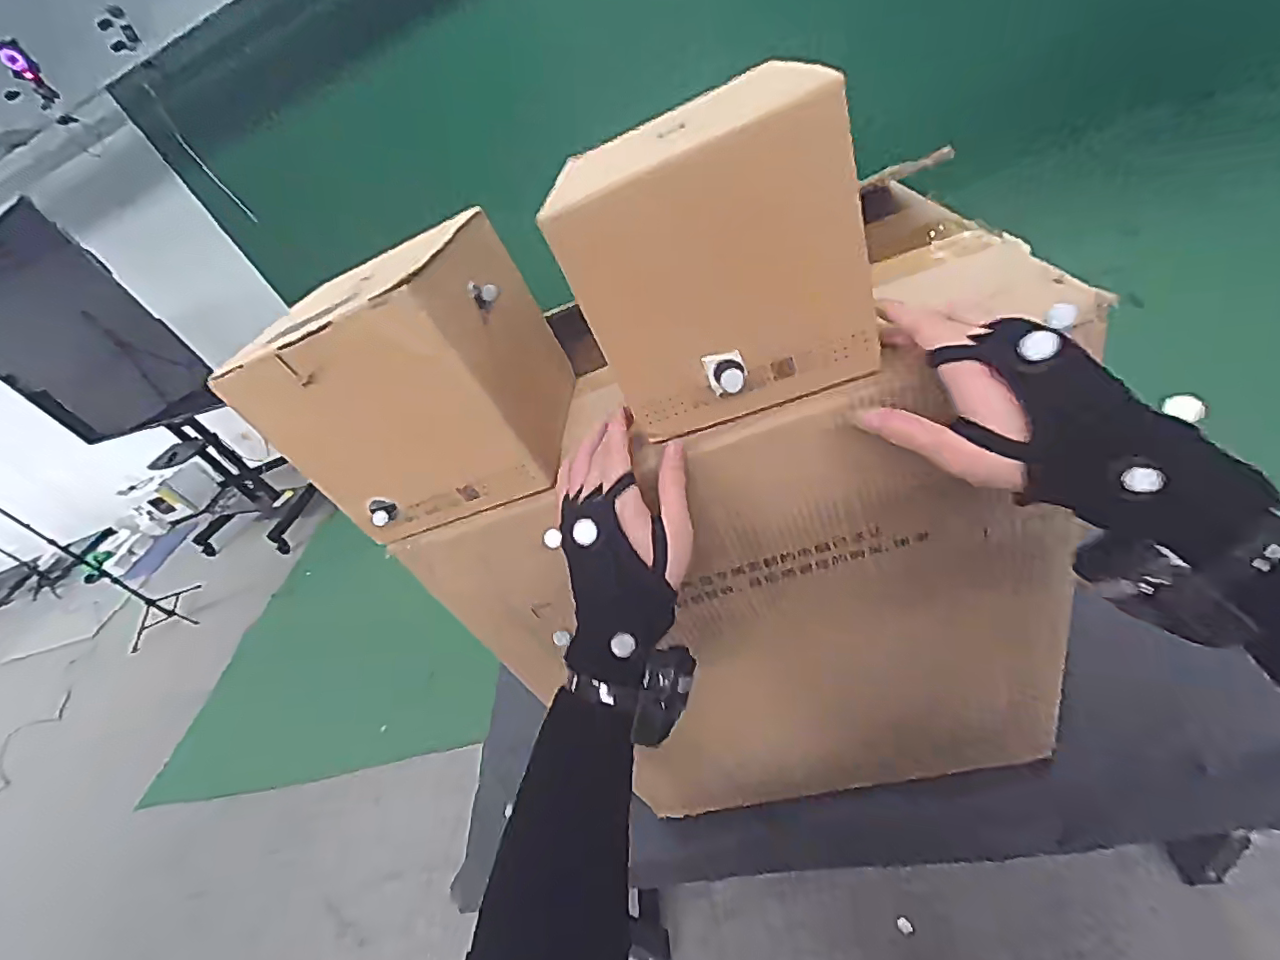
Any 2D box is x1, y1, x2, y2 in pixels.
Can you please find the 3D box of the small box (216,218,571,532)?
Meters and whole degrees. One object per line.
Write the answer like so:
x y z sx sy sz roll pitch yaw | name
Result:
-0.172 -0.077 0.443 0.168 0.176 0.179 -18 36 16 | small box

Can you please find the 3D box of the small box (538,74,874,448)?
0.050 -0.152 0.387 0.168 0.176 0.179 -19 38 14 | small box
